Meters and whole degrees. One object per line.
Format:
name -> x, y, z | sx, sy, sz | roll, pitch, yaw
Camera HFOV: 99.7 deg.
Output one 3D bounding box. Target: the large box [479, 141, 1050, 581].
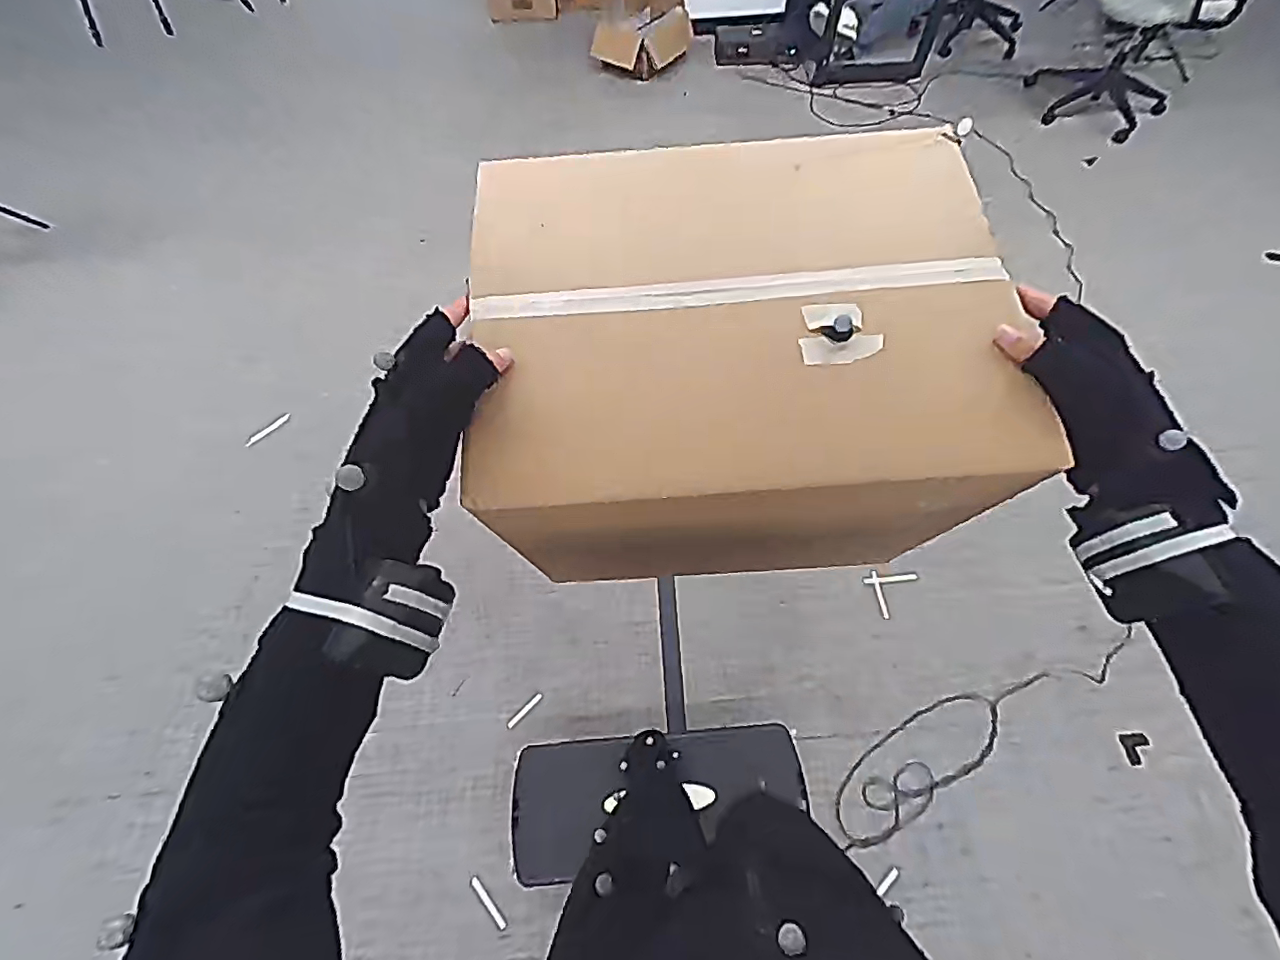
large box -> 0.076, -0.088, 0.560 | 0.408, 0.320, 0.320 | -4, 70, 0
